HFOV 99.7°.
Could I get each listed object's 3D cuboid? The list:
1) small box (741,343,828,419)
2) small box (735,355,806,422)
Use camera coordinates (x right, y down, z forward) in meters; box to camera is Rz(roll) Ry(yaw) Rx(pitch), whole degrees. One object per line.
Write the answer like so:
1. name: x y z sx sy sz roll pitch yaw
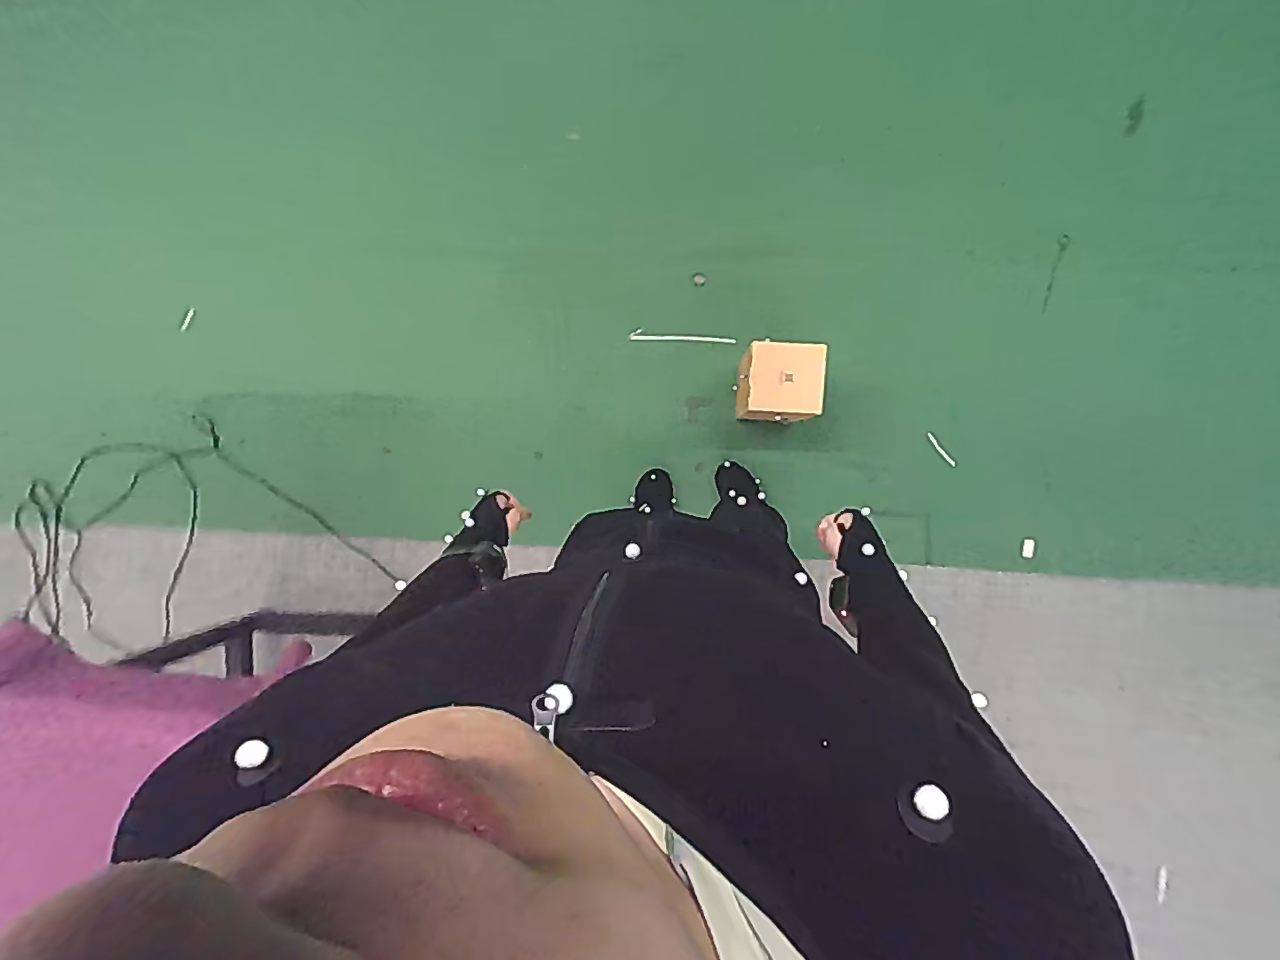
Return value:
1. small box: 0.356 -0.242 1.355 0.179 0.176 0.168 4 93 5
2. small box: 0.369 -0.252 1.516 0.179 0.176 0.168 5 93 4
